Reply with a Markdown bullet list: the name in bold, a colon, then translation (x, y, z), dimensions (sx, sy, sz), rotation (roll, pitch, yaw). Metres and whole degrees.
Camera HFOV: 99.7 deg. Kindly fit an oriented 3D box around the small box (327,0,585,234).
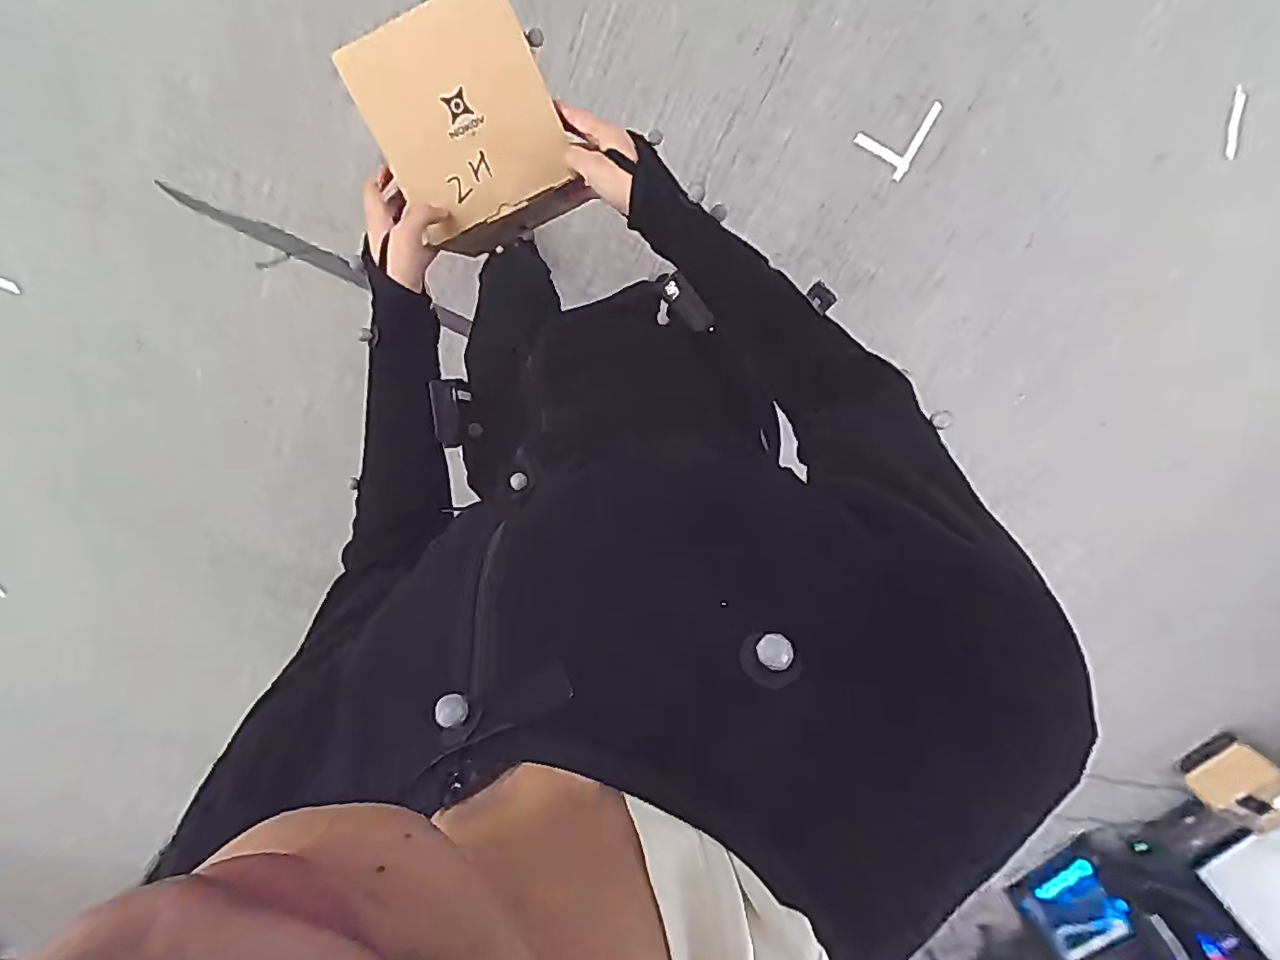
- **small box**: translation (-0.166, -0.376, 0.555), dimensions (0.168, 0.176, 0.179), rotation (-22, 109, 5)
